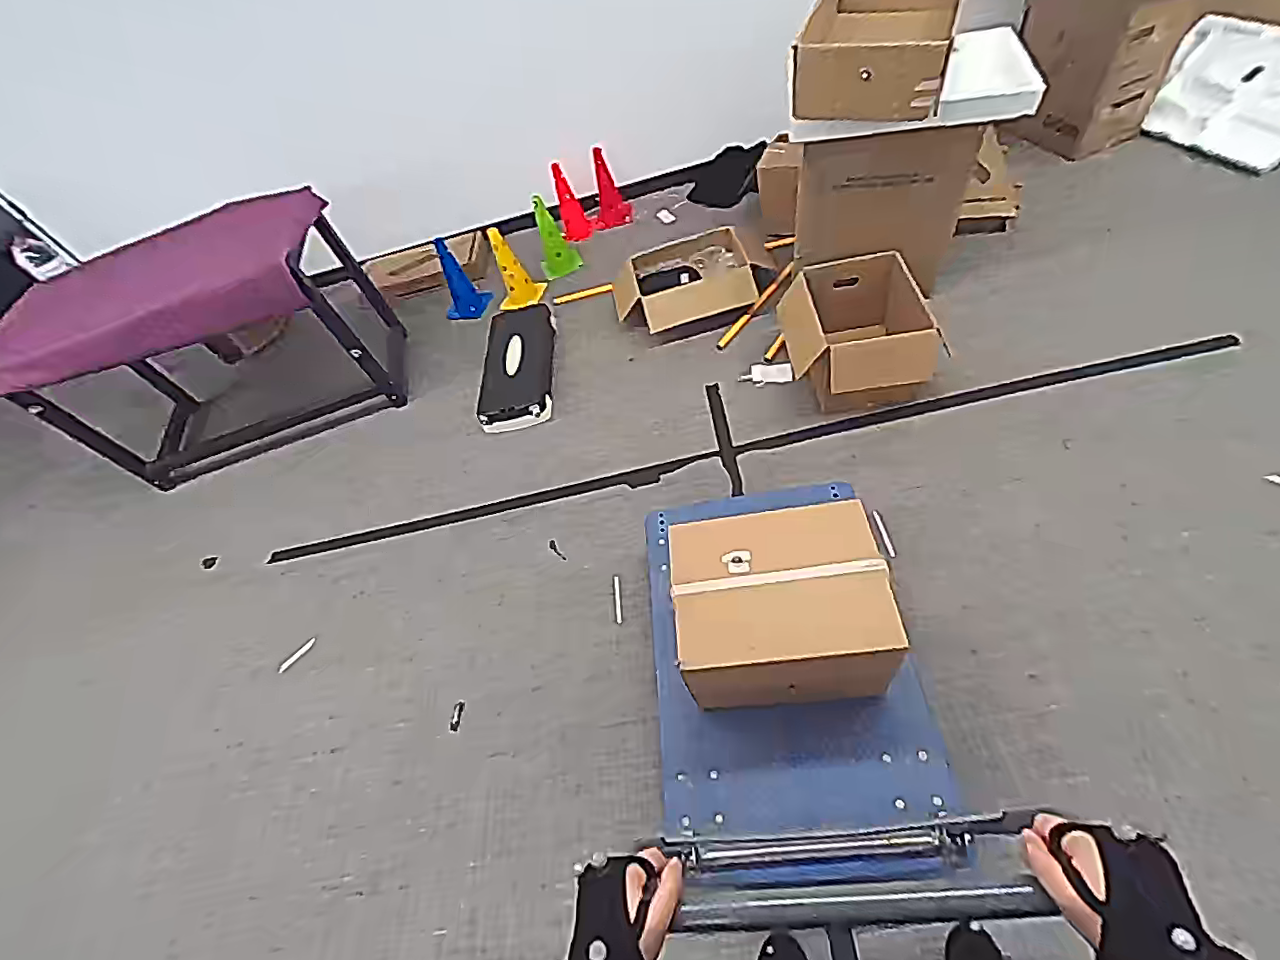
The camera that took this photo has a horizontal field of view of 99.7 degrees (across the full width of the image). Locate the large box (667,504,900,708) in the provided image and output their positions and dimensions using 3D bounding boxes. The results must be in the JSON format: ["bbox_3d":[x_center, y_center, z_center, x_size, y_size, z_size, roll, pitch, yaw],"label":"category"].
[{"bbox_3d":[0.294,0.289,1.182,0.408,0.320,0.320,-10,52,9],"label":"large box"}]
